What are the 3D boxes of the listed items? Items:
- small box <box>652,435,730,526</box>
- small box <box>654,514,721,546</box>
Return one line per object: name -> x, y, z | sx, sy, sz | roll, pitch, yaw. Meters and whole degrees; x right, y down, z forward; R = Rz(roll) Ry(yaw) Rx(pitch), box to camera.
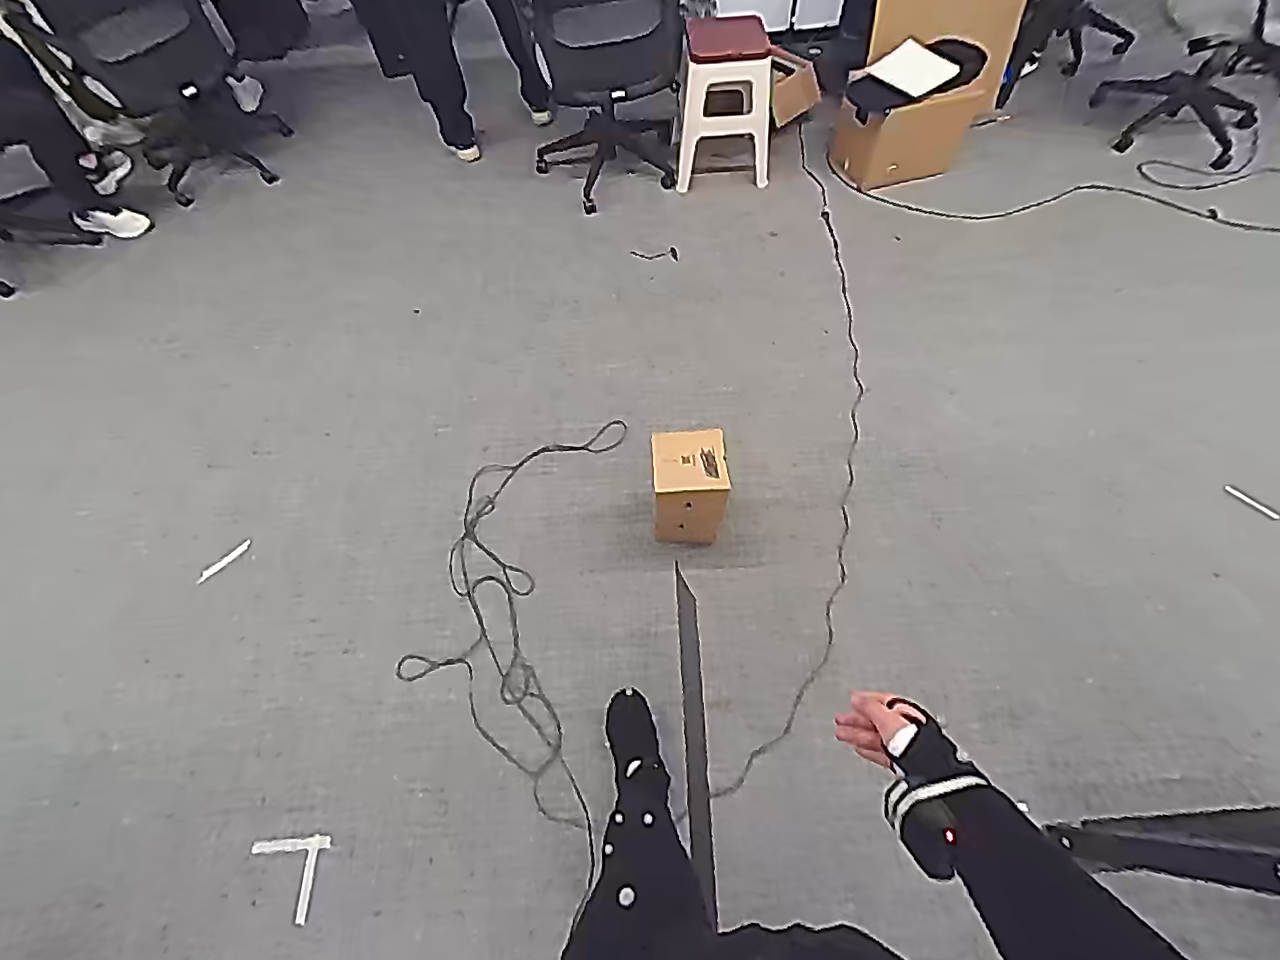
small box -> 0.121, 0.005, 1.345 | 0.179, 0.176, 0.168 | -3, 60, 1
small box -> 0.133, 0.075, 1.495 | 0.179, 0.176, 0.168 | 3, 61, 4
